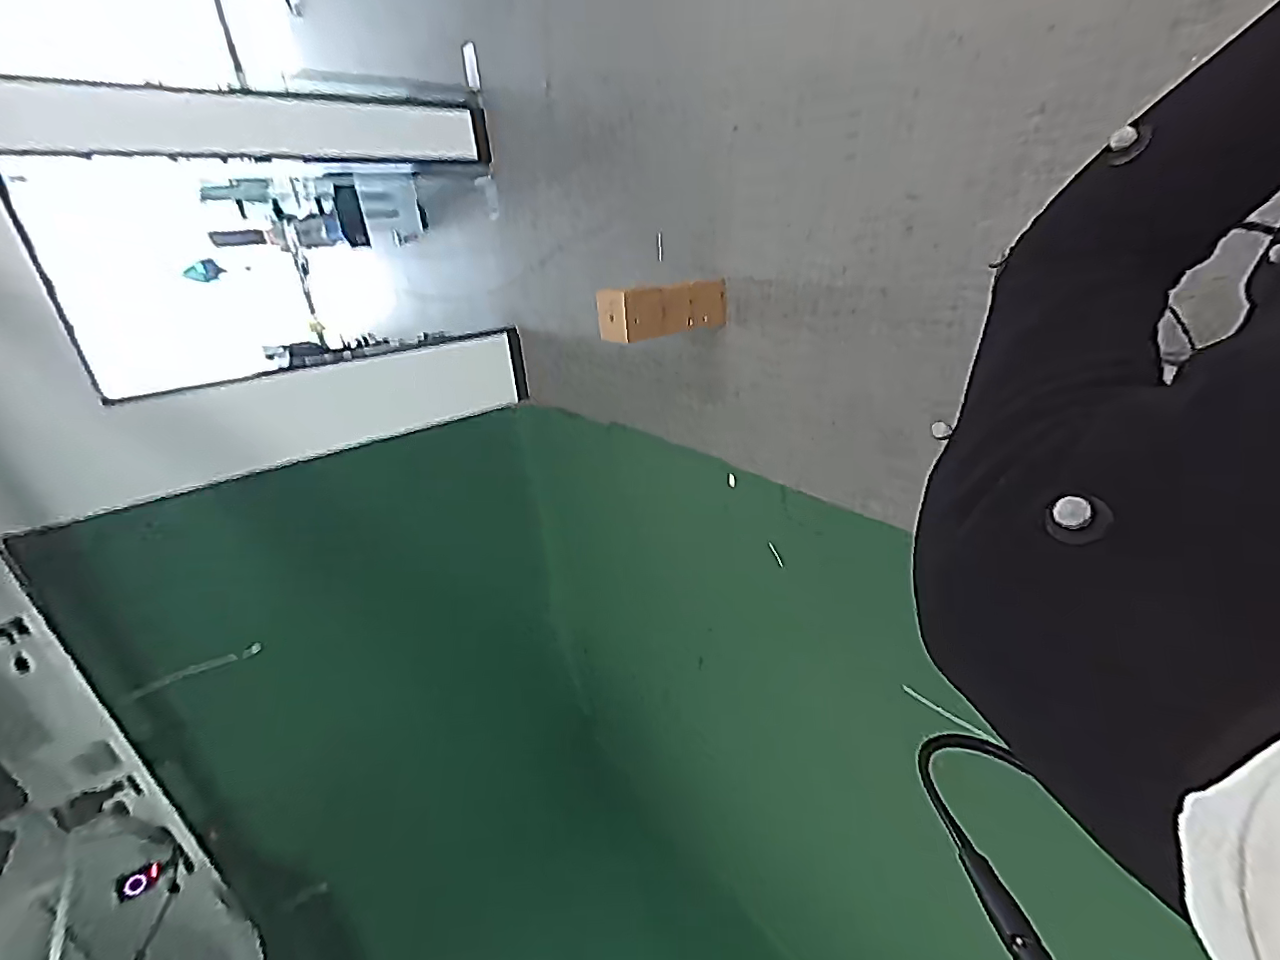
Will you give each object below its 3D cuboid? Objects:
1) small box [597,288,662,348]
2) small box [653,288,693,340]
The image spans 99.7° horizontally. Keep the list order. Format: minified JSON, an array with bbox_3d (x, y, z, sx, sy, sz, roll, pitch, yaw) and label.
[{"bbox_3d":[-0.034,-0.580,1.925,0.168,0.176,0.179,24,125,46],"label":"small box"},{"bbox_3d":[0.086,-0.627,2.028,0.179,0.176,0.168,23,125,47],"label":"small box"}]
